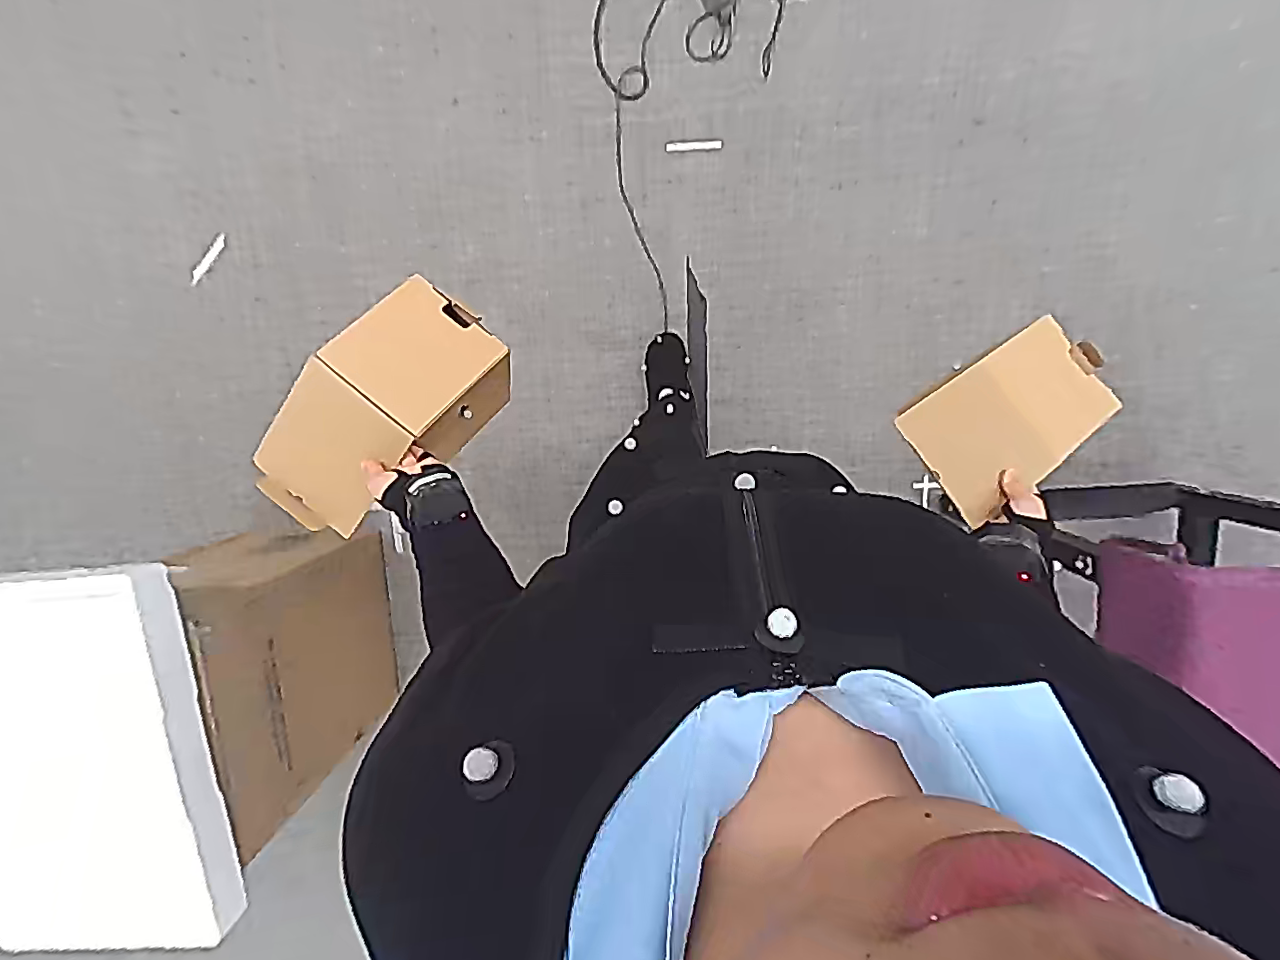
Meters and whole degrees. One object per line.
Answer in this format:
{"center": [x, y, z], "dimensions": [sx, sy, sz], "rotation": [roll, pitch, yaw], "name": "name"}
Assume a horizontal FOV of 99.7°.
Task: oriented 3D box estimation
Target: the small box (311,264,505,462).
{"center": [-0.304, -0.151, 0.756], "dimensions": [0.168, 0.176, 0.179], "rotation": [40, 69, 0], "name": "small box"}
